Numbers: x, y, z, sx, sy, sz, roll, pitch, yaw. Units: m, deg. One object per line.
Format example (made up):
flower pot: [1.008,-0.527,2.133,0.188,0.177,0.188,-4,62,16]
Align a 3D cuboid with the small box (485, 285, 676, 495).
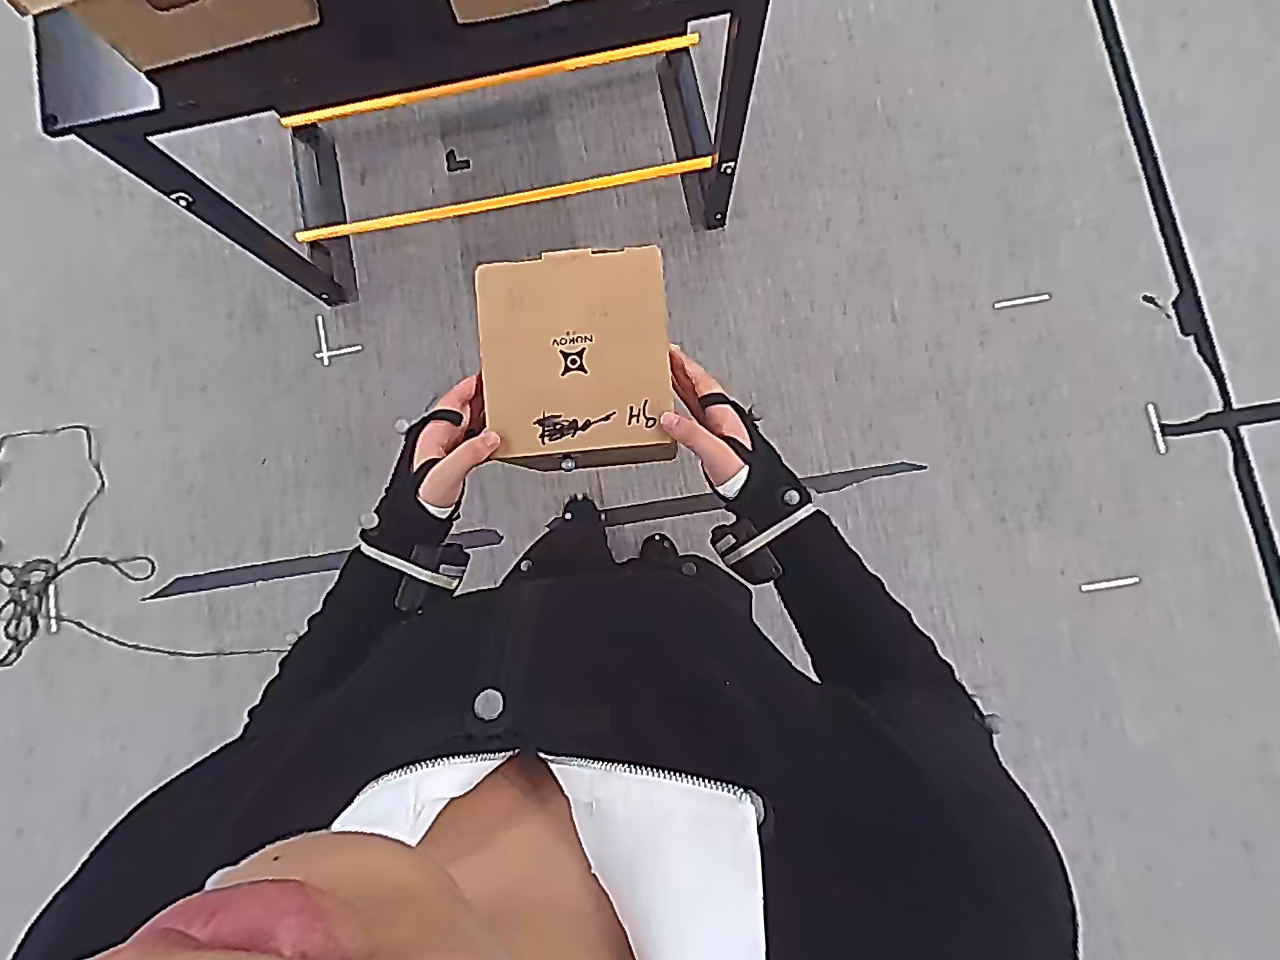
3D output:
small box: [-0.052,-0.079,0.563,0.168,0.176,0.179,-4,86,3]
